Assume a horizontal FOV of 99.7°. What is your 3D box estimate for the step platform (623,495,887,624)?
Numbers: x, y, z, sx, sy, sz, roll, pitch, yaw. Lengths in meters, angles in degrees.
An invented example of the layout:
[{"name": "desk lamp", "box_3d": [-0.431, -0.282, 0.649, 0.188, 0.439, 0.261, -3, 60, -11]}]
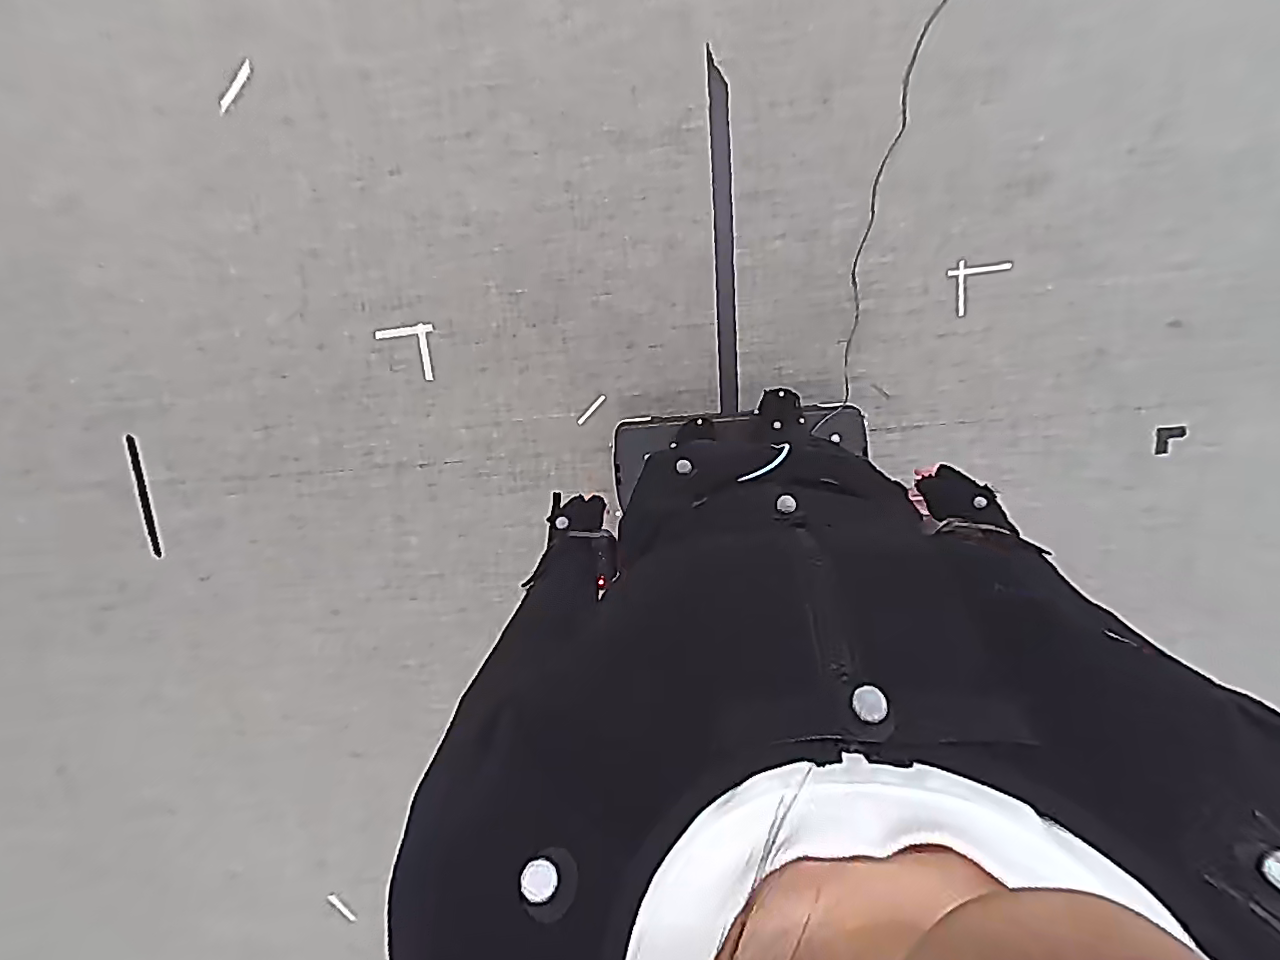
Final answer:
[{"name": "step platform", "box_3d": [0.295, 0.215, 1.463, 0.684, 0.204, 0.286, -5, 98, 7]}]
